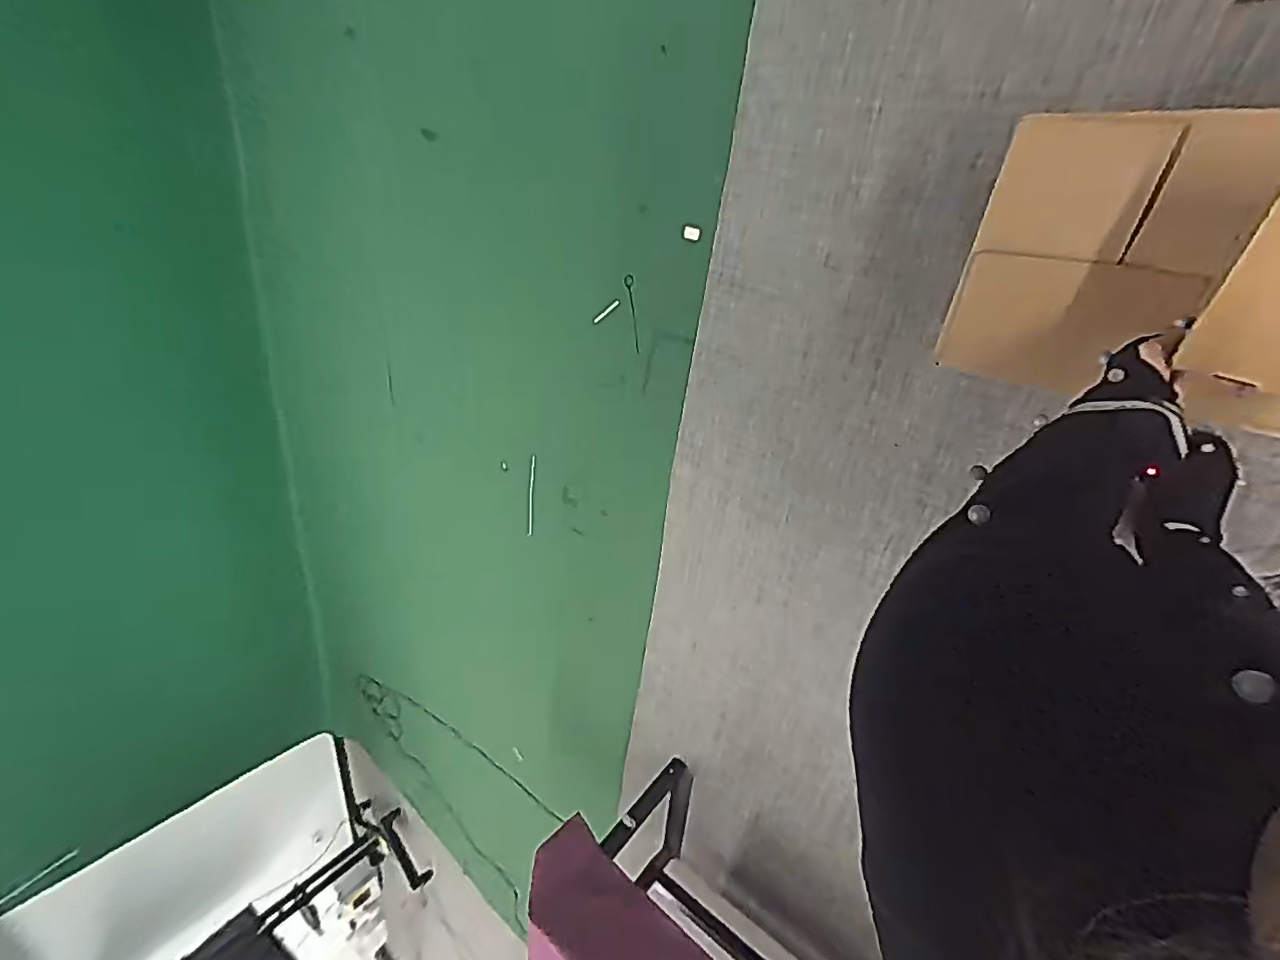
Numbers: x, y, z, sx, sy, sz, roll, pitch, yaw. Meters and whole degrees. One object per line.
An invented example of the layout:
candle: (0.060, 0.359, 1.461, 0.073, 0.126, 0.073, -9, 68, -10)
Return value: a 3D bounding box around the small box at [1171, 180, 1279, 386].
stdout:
small box: (0.626, -0.173, 0.486, 0.168, 0.176, 0.179, 30, 122, 32)
